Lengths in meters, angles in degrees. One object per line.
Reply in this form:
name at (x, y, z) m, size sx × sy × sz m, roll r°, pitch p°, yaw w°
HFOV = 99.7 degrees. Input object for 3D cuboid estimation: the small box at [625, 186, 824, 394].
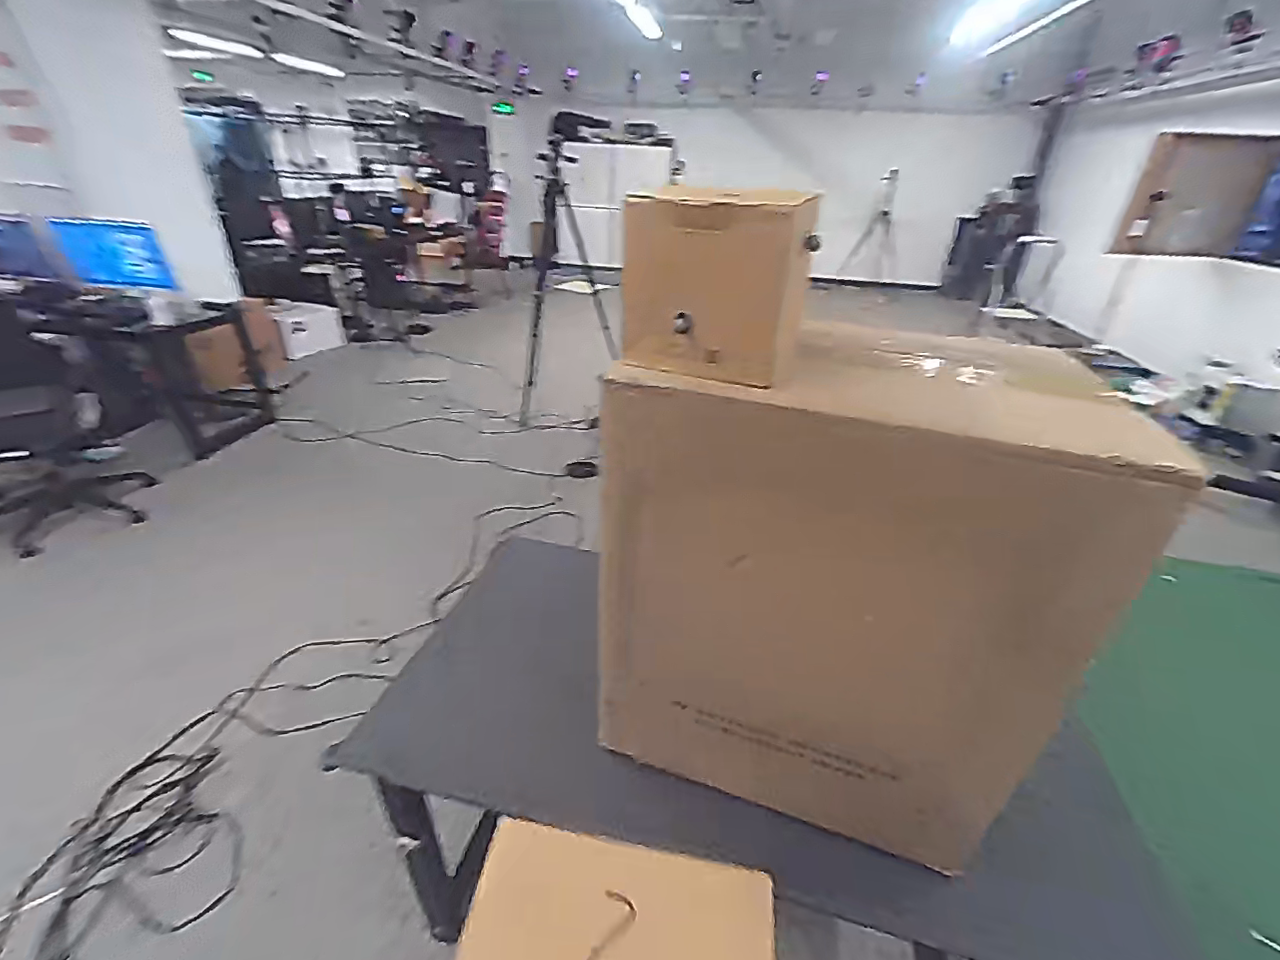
small box at (0.088, -0.211, 0.583) m, size 0.168 × 0.176 × 0.179 m, roll 14°, pitch 35°, yaw 18°
